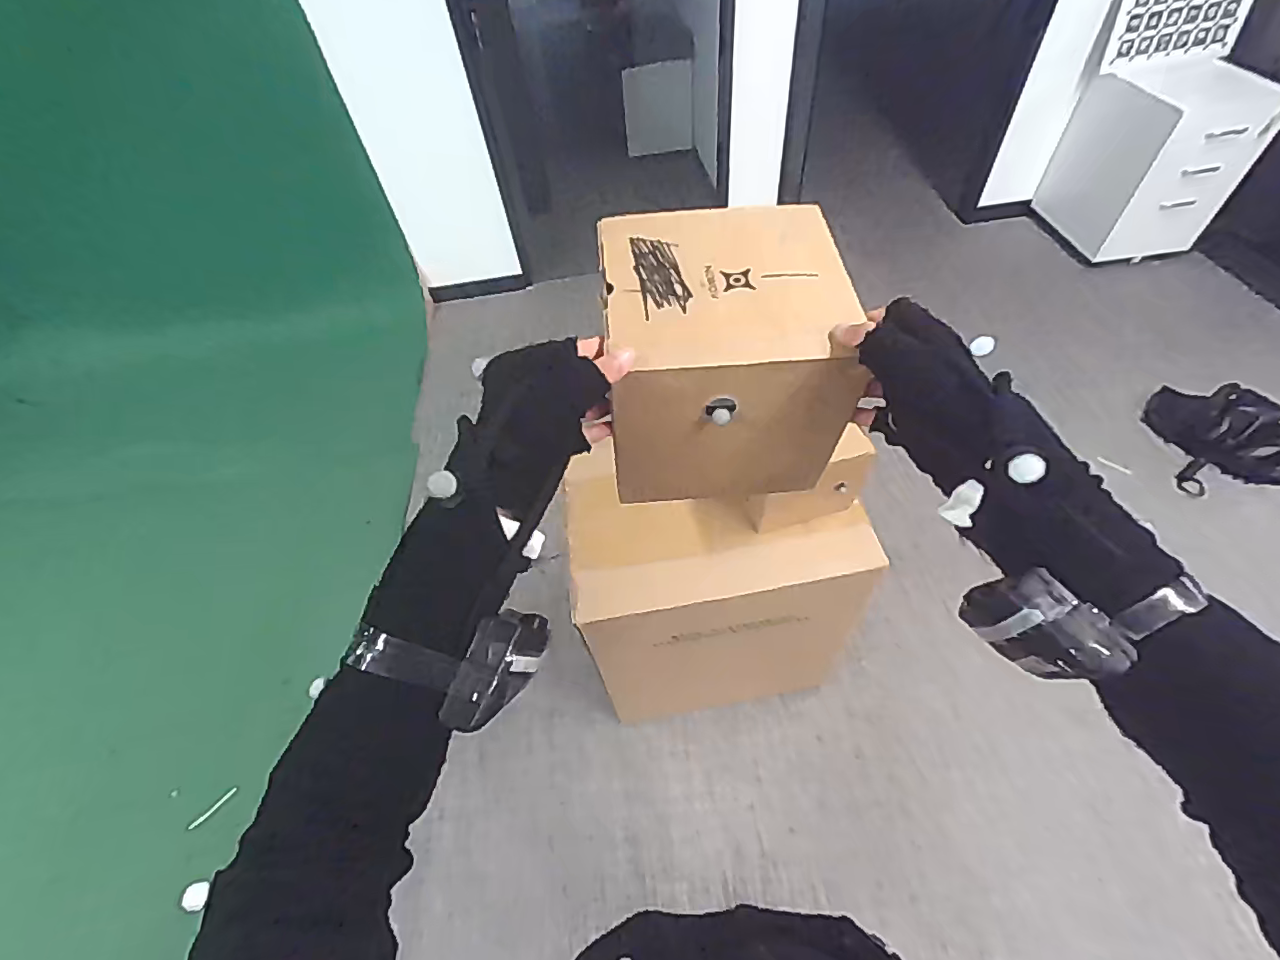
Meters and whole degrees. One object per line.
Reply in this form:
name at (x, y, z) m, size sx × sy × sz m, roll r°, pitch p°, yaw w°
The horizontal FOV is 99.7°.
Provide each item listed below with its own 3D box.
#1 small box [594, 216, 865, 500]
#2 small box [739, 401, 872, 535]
small box at (0.058, -0.094, 0.457) m, size 0.179 × 0.176 × 0.168 m, roll -4°, pitch 58°, yaw -2°
small box at (0.259, -0.031, 0.926) m, size 0.179 × 0.176 × 0.168 m, roll -17°, pitch 55°, yaw -5°
